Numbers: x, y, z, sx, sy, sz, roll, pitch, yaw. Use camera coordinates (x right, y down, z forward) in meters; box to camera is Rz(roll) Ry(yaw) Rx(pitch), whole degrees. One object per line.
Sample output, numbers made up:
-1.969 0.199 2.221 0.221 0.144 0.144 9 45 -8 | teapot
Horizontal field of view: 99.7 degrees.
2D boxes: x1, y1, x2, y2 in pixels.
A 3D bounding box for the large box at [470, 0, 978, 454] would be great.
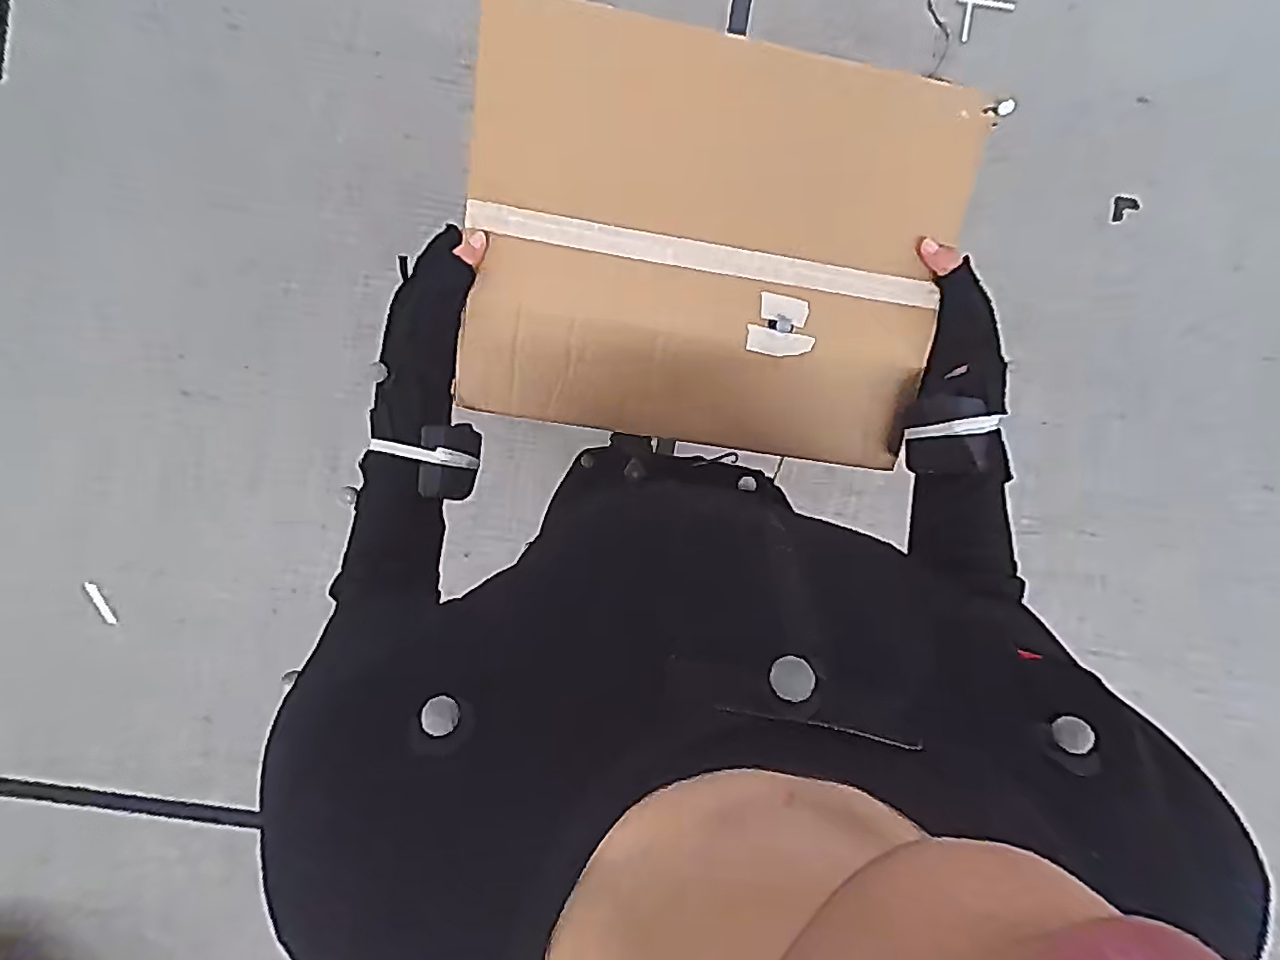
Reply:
0.052 -0.235 0.608 0.408 0.320 0.320 8 106 -7 | large box
